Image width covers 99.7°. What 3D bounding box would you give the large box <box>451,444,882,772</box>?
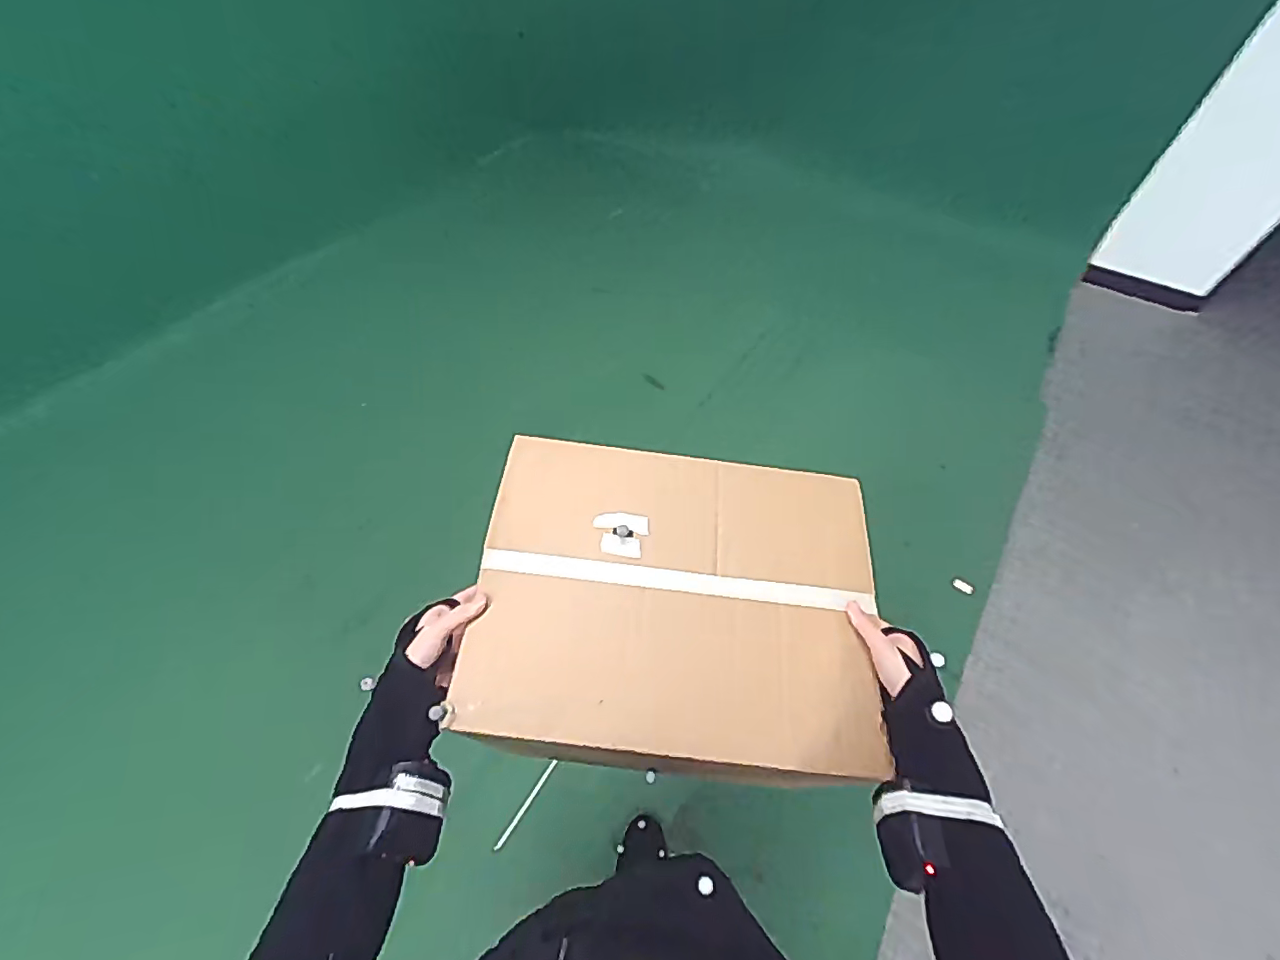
[{"bbox_3d":[0.031,0.182,0.692,0.408,0.320,0.320,7,59,0],"label":"large box"}]
